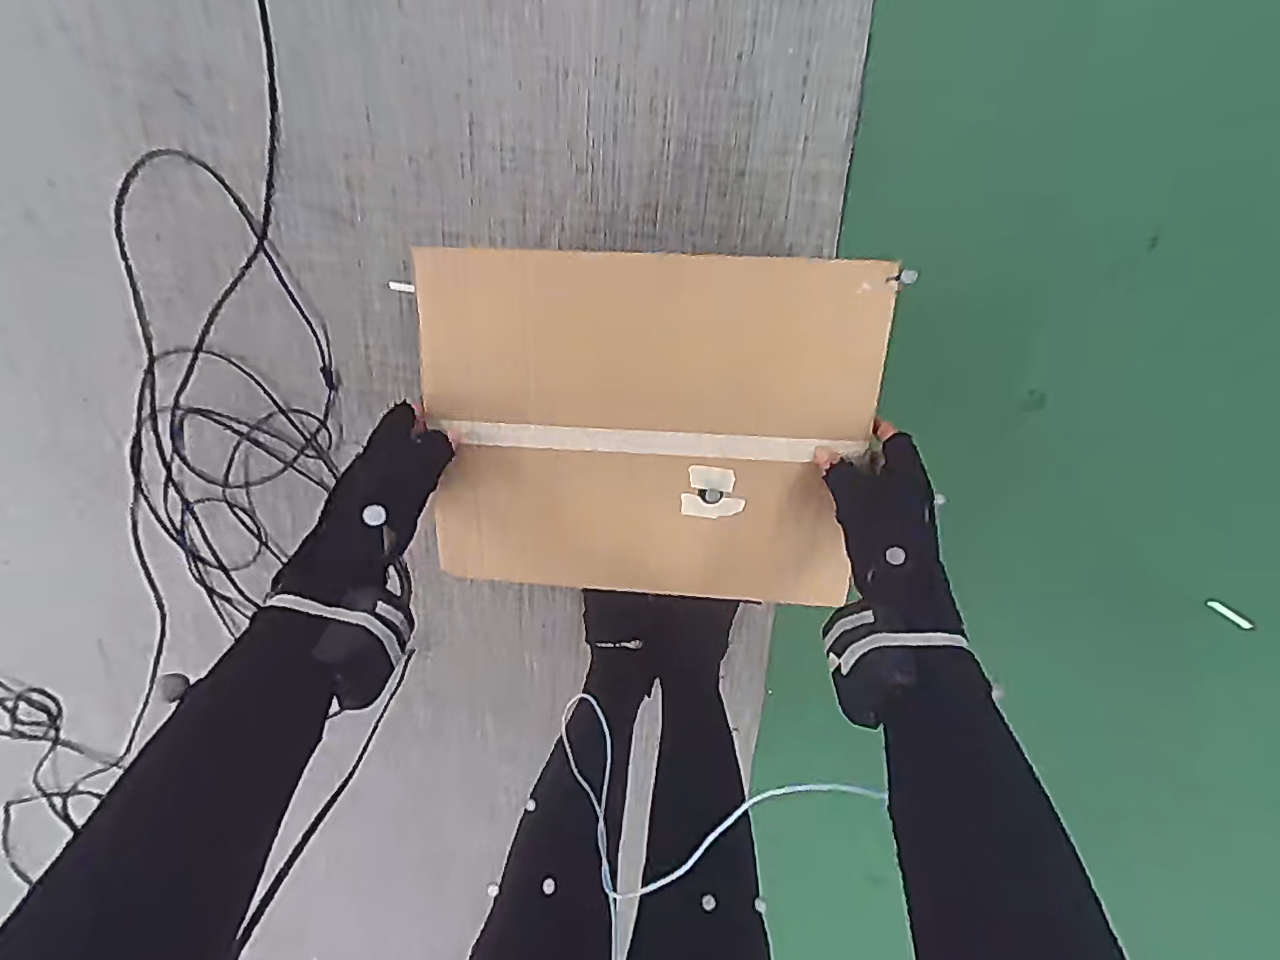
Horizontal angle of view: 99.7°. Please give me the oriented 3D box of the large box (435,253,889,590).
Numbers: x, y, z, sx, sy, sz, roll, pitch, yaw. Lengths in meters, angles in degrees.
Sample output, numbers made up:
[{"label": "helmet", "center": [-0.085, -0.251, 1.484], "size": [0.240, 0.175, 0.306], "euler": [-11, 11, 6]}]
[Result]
[{"label": "large box", "center": [0.020, -0.086, 0.652], "size": [0.408, 0.320, 0.320], "euler": [3, 107, 4]}]
